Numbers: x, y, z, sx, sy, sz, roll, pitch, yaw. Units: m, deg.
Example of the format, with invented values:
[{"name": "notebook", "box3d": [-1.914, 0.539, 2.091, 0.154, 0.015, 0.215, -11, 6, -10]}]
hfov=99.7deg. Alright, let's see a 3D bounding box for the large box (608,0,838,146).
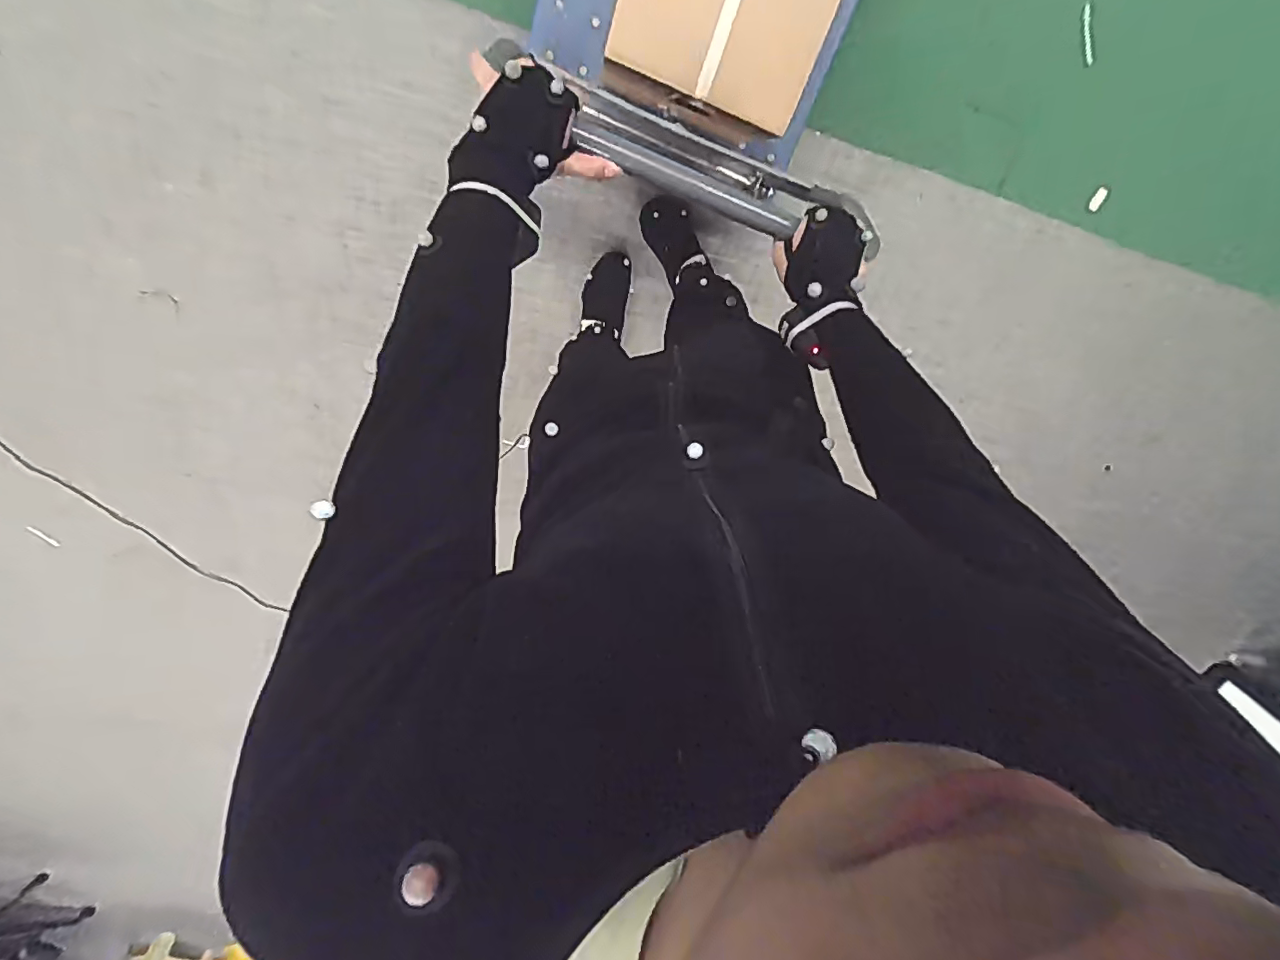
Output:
[{"name": "large box", "box3d": [0.148, -0.837, 0.899, 0.320, 0.320, 0.408, 16, 117, -13]}]
